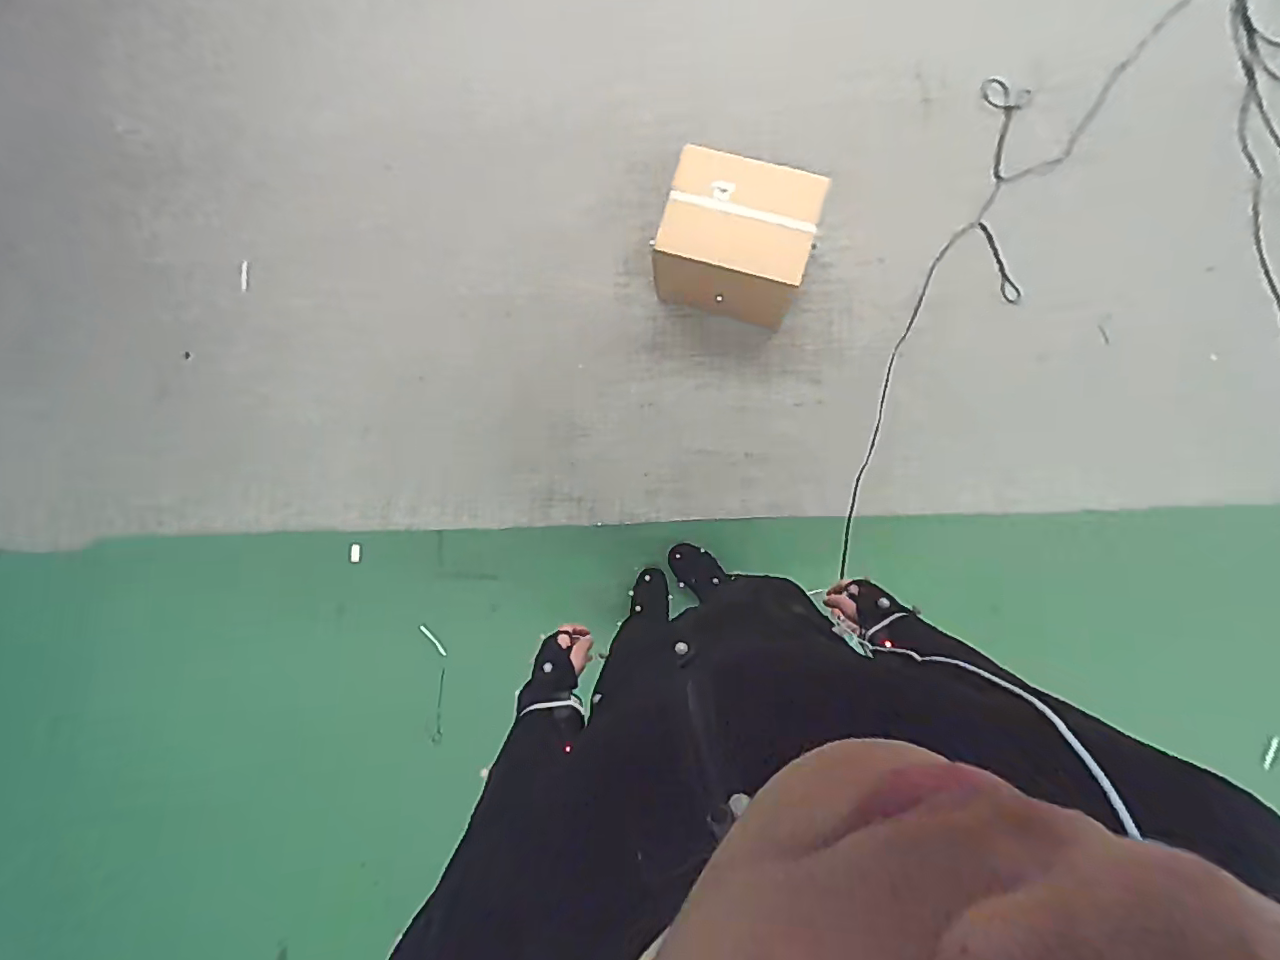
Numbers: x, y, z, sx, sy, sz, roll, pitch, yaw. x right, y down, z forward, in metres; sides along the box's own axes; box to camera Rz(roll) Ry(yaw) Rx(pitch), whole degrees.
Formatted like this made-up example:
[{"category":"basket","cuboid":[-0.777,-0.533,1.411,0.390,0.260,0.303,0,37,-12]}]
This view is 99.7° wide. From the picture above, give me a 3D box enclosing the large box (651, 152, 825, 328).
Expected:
[{"category":"large box","cuboid":[0.276,-0.683,1.583,0.408,0.320,0.320,16,85,7]}]
